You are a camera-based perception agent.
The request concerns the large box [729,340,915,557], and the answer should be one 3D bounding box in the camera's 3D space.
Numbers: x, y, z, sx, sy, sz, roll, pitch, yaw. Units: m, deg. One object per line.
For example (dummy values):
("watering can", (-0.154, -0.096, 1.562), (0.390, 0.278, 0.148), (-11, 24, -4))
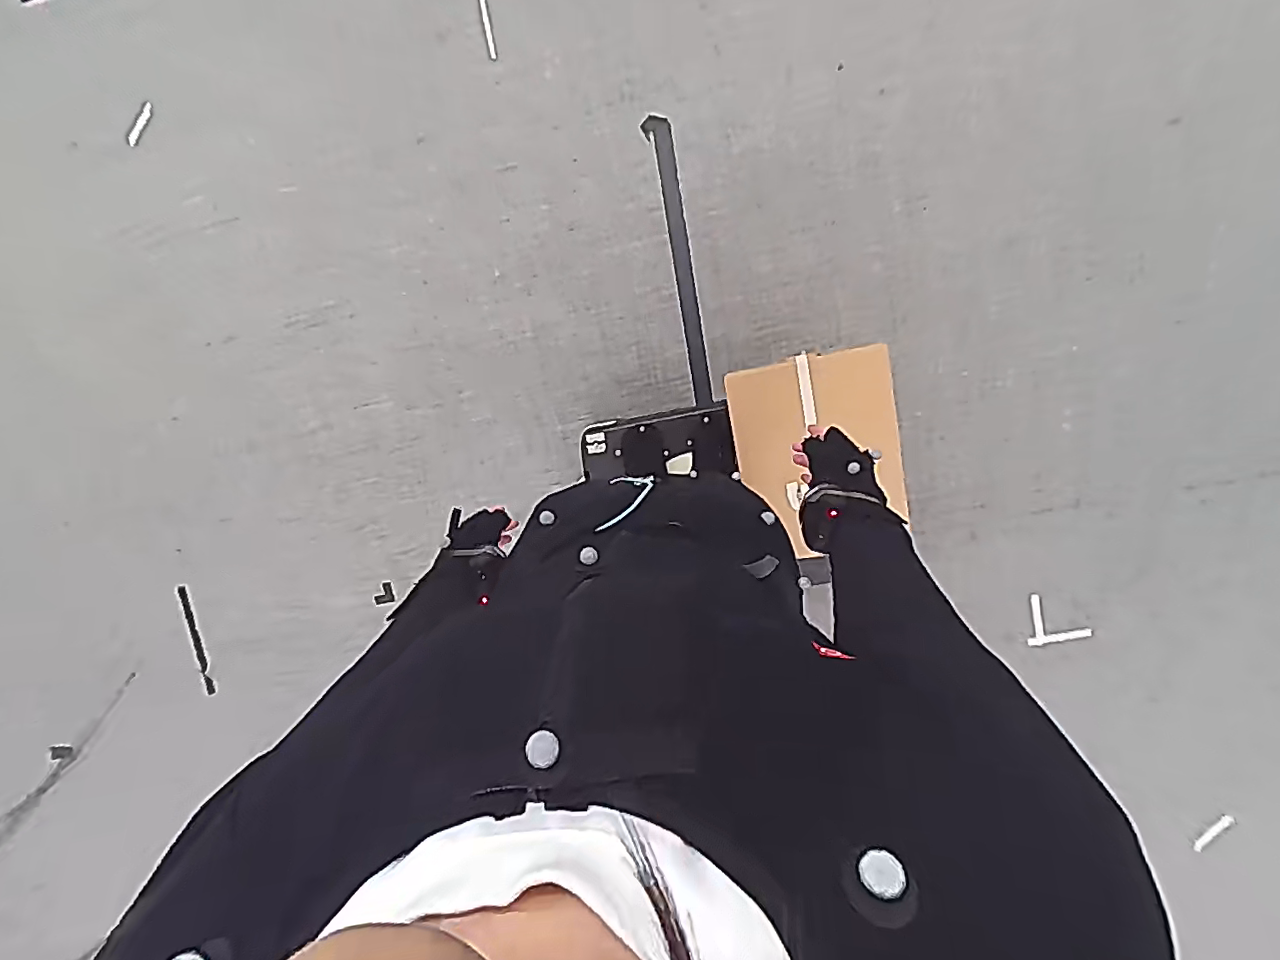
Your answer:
("large box", (0.396, -0.081, 1.231), (0.320, 0.320, 0.408), (-9, 100, 15))
